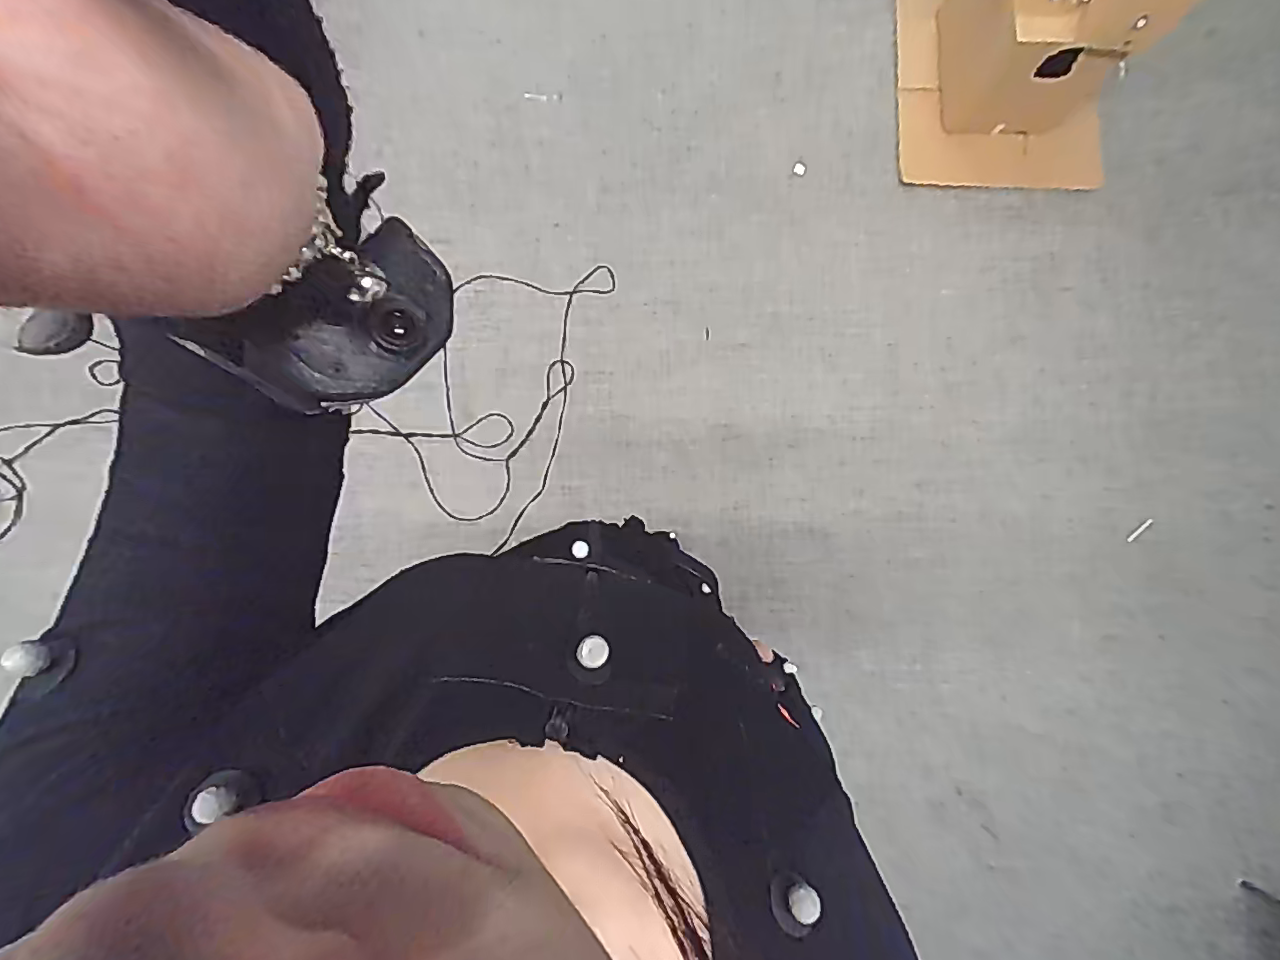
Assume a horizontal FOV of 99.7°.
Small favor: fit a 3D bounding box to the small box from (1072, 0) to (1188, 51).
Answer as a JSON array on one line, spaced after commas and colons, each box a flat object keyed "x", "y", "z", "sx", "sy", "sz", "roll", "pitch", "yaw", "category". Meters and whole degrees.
[{"x": 1.125, "y": -1.124, "z": 1.226, "sx": 0.168, "sy": 0.176, "sz": 0.179, "roll": 3, "pitch": 84, "yaw": -1, "category": "small box"}]
